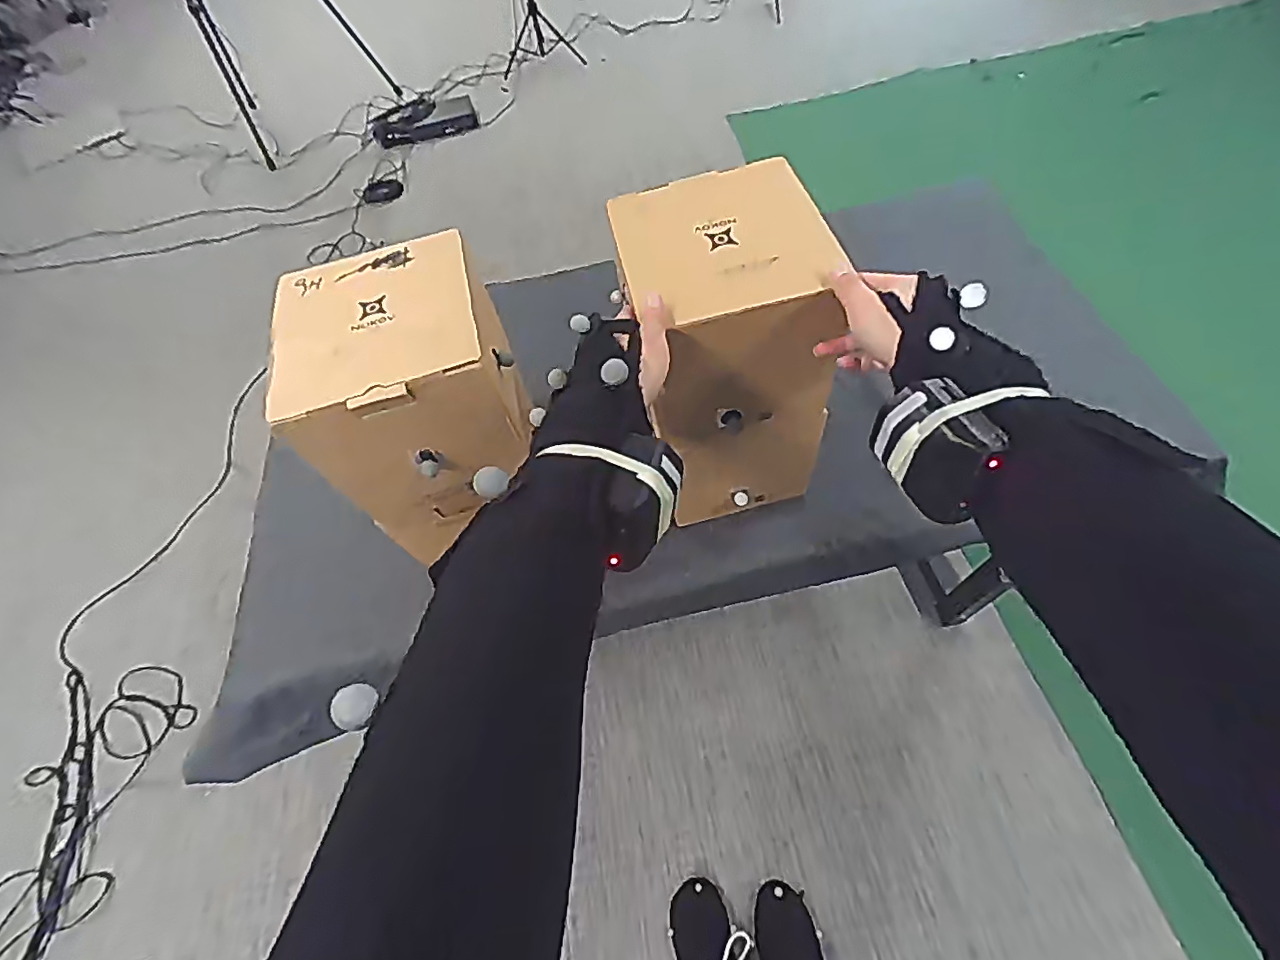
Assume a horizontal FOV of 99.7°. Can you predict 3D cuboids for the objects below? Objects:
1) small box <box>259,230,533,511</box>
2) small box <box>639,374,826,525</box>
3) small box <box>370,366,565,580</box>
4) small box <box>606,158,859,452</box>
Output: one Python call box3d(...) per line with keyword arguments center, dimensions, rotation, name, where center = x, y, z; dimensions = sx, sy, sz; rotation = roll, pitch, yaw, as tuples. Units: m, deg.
box3d(center=(-0.209, -0.088, 0.501), dimensions=(0.168, 0.176, 0.179), rotation=(-17, 59, -3), name="small box")
box3d(center=(0.095, -0.073, 0.641), dimensions=(0.168, 0.176, 0.179), rotation=(-15, 58, -1), name="small box")
box3d(center=(-0.197, -0.006, 0.642), dimensions=(0.168, 0.176, 0.179), rotation=(-16, 59, -3), name="small box")
box3d(center=(0.073, -0.154, 0.502), dimensions=(0.168, 0.176, 0.179), rotation=(-14, 60, 1), name="small box")
